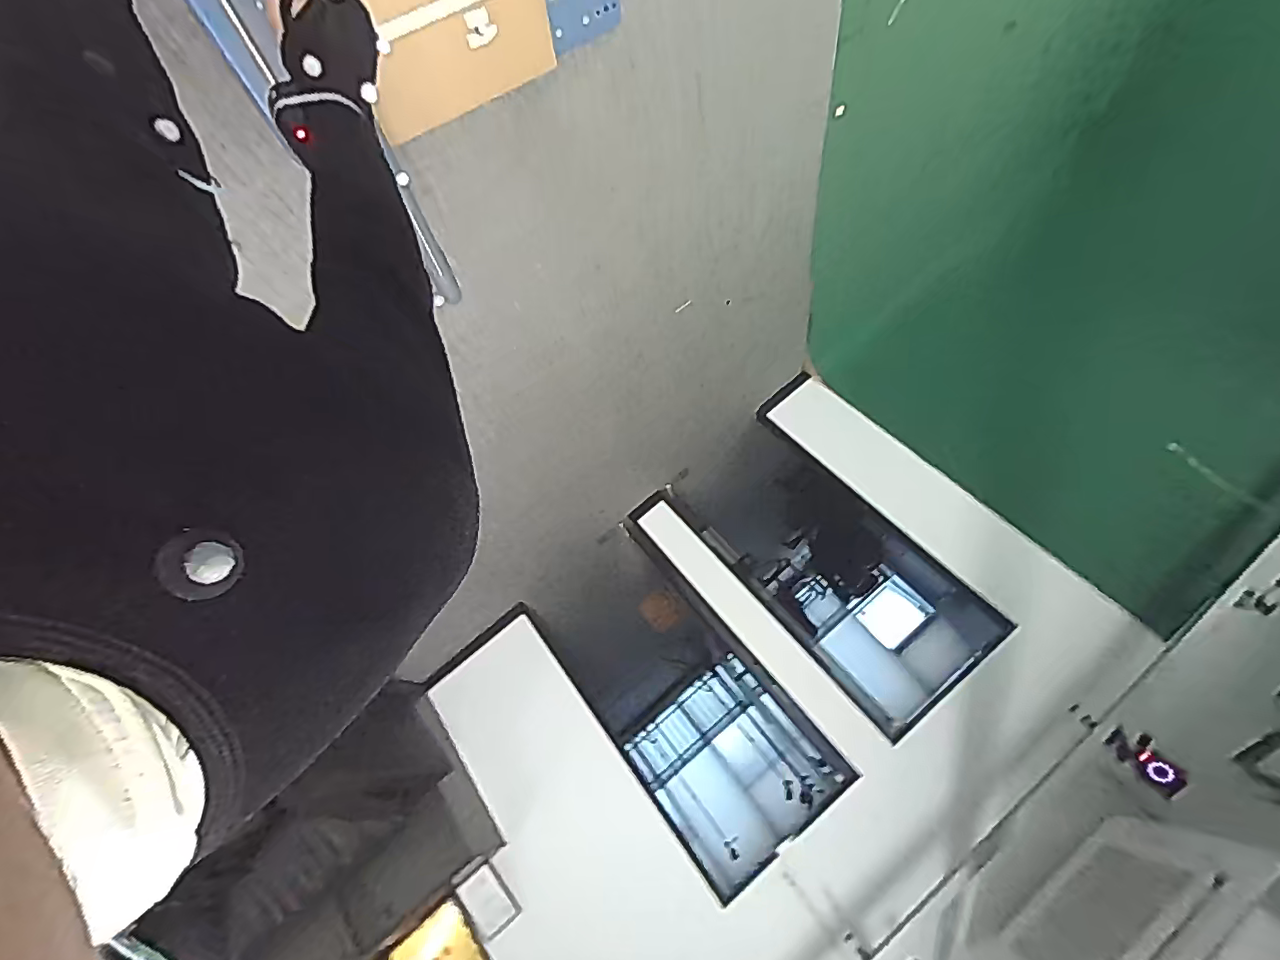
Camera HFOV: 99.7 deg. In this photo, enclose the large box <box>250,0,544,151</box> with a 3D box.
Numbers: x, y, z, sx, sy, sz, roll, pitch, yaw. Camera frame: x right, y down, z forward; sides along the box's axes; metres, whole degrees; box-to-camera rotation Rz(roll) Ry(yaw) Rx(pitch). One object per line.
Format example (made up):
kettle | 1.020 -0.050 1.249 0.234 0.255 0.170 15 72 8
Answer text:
large box | -0.449 -0.870 0.945 0.408 0.320 0.320 -37 154 -13
